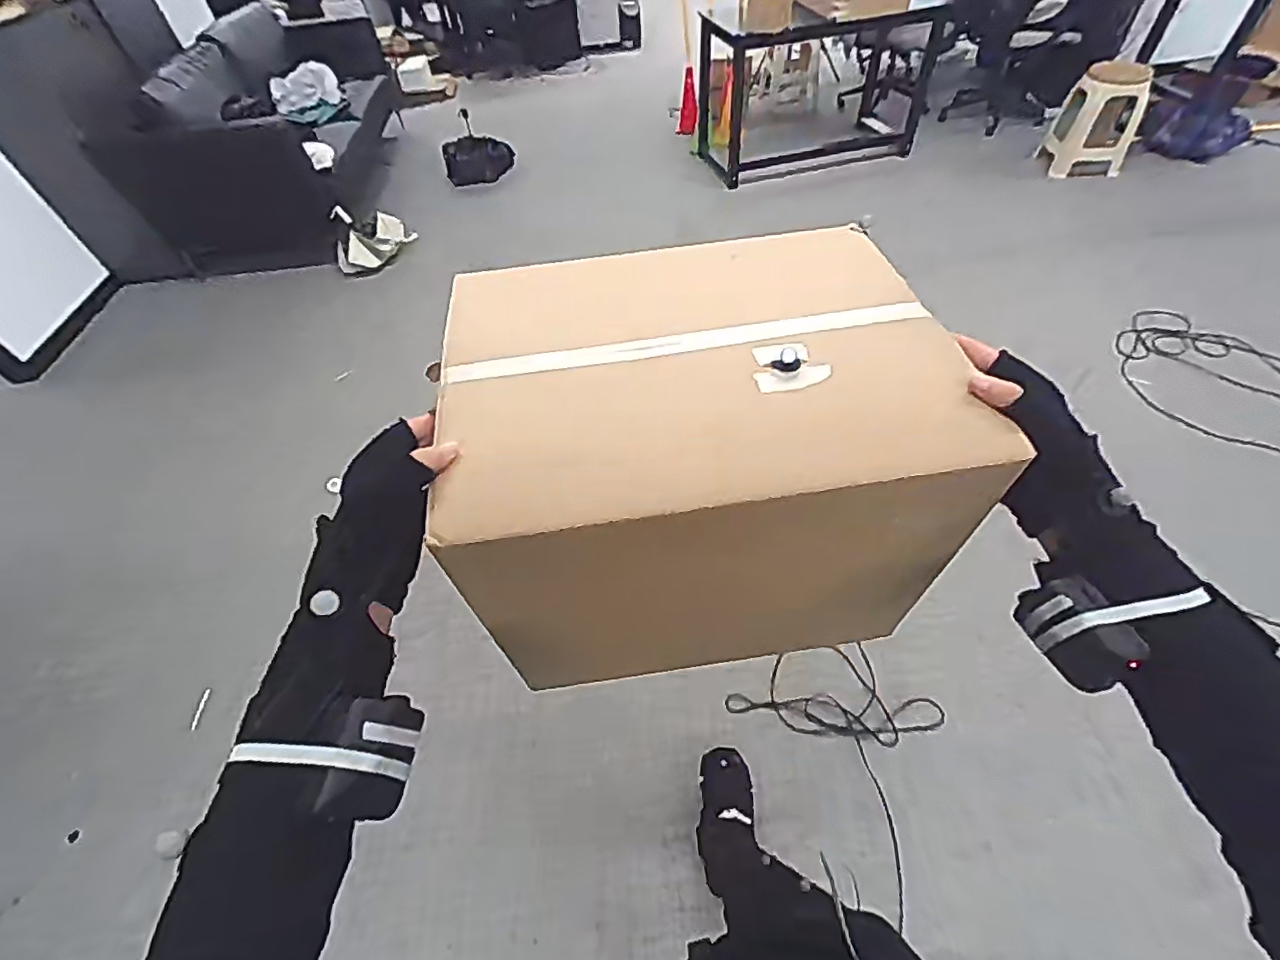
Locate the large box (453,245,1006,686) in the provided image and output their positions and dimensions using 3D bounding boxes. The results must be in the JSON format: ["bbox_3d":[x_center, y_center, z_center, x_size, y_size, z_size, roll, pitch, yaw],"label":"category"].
[{"bbox_3d":[0.051,-0.009,0.579,0.408,0.320,0.320,-8,52,-3],"label":"large box"}]
